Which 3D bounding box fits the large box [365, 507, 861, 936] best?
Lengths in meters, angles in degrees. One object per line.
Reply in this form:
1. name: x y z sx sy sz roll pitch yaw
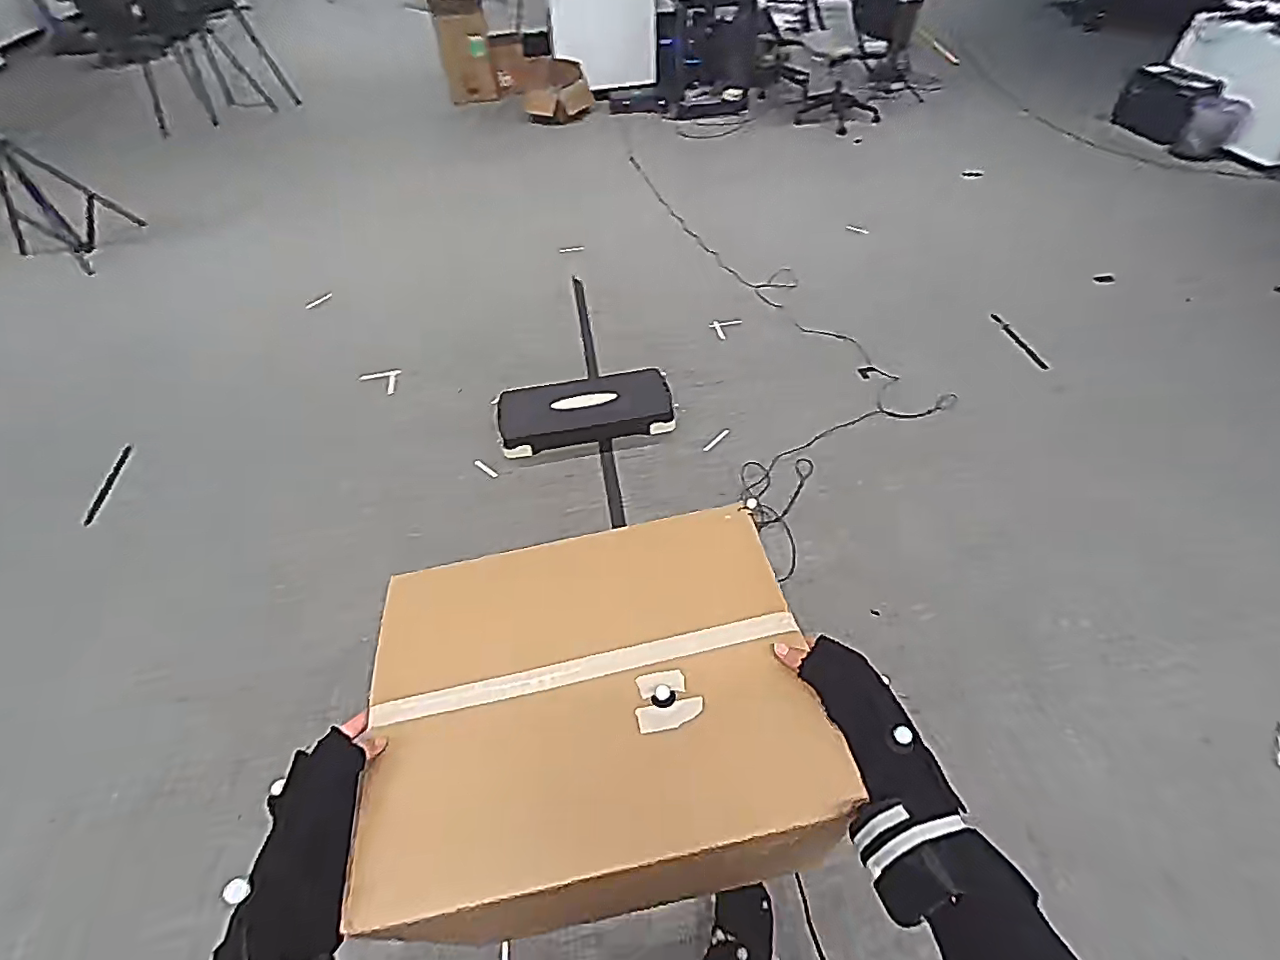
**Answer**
1. large box: -0.028 0.279 0.627 0.408 0.320 0.320 -11 47 -2
